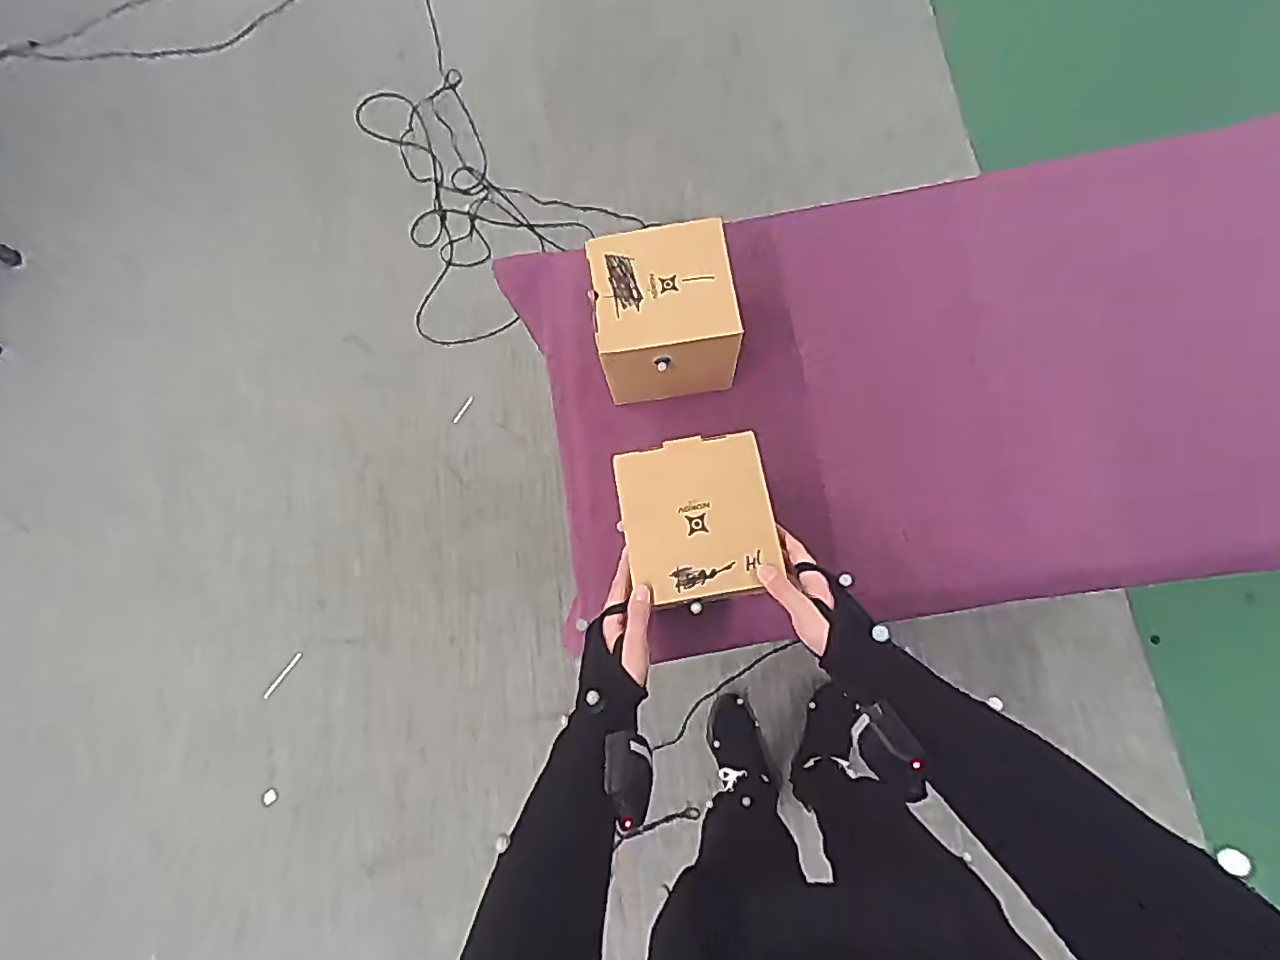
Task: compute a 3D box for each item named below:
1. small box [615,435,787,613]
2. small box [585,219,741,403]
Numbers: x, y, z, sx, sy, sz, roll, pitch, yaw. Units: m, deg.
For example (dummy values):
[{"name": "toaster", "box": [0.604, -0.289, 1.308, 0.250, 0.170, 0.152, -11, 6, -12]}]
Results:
[{"name": "small box", "box": [0.068, 0.064, 0.663, 0.168, 0.176, 0.179, -10, 75, 3]}, {"name": "small box", "box": [0.032, -0.217, 0.735, 0.179, 0.176, 0.168, -8, 76, 3]}]
